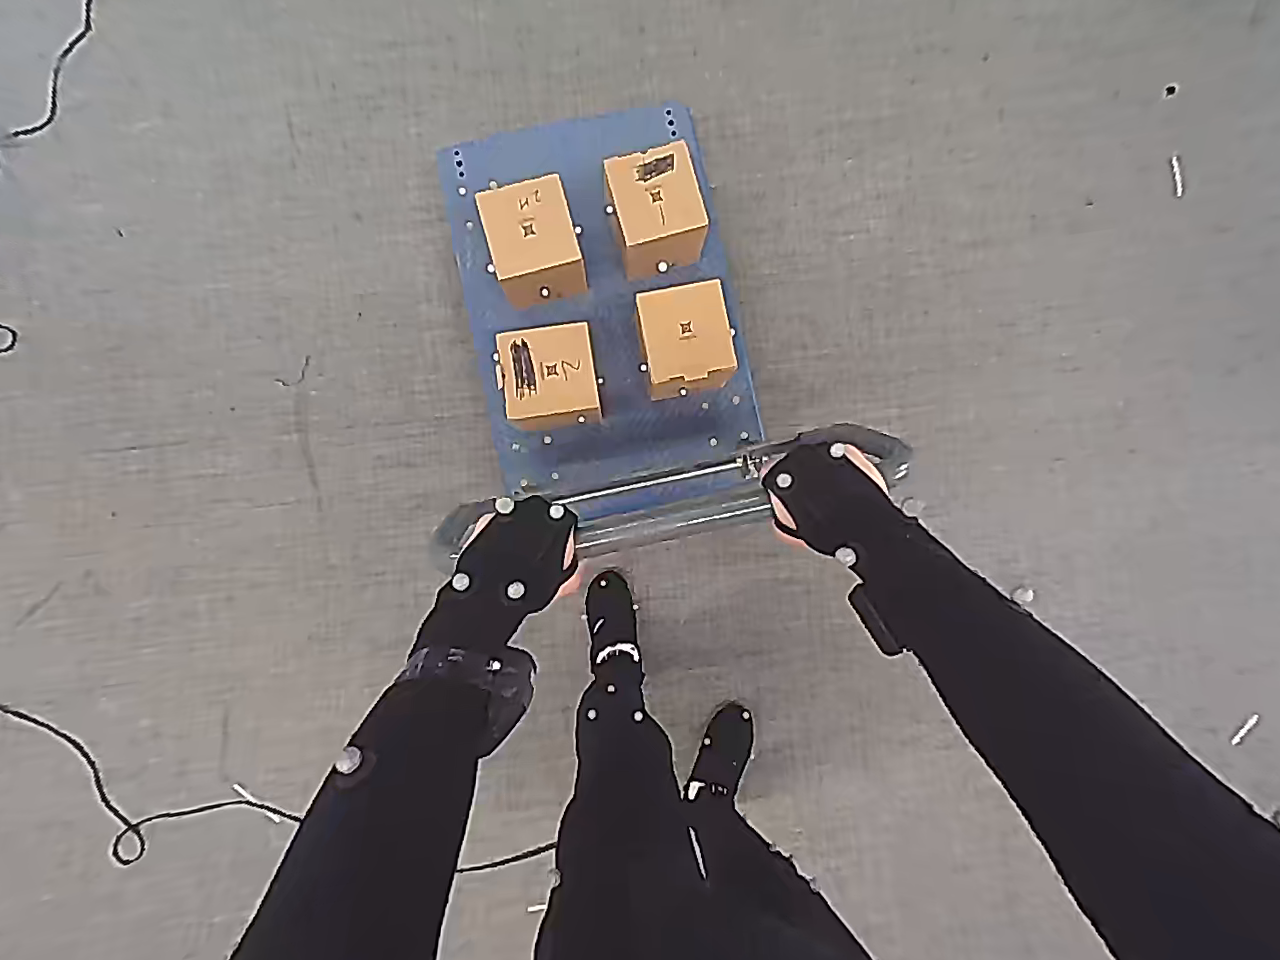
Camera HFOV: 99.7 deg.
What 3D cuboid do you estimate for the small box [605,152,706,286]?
[{"bbox_3d":[0.027,-0.538,1.134,0.168,0.176,0.179,-16,89,-1],"label":"small box"}]

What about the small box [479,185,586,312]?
[{"bbox_3d":[-0.214,-0.468,1.124,0.168,0.176,0.179,-16,88,-3],"label":"small box"}]

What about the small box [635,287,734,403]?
[{"bbox_3d":[0.085,-0.273,1.123,0.168,0.176,0.179,-11,88,-2],"label":"small box"}]
